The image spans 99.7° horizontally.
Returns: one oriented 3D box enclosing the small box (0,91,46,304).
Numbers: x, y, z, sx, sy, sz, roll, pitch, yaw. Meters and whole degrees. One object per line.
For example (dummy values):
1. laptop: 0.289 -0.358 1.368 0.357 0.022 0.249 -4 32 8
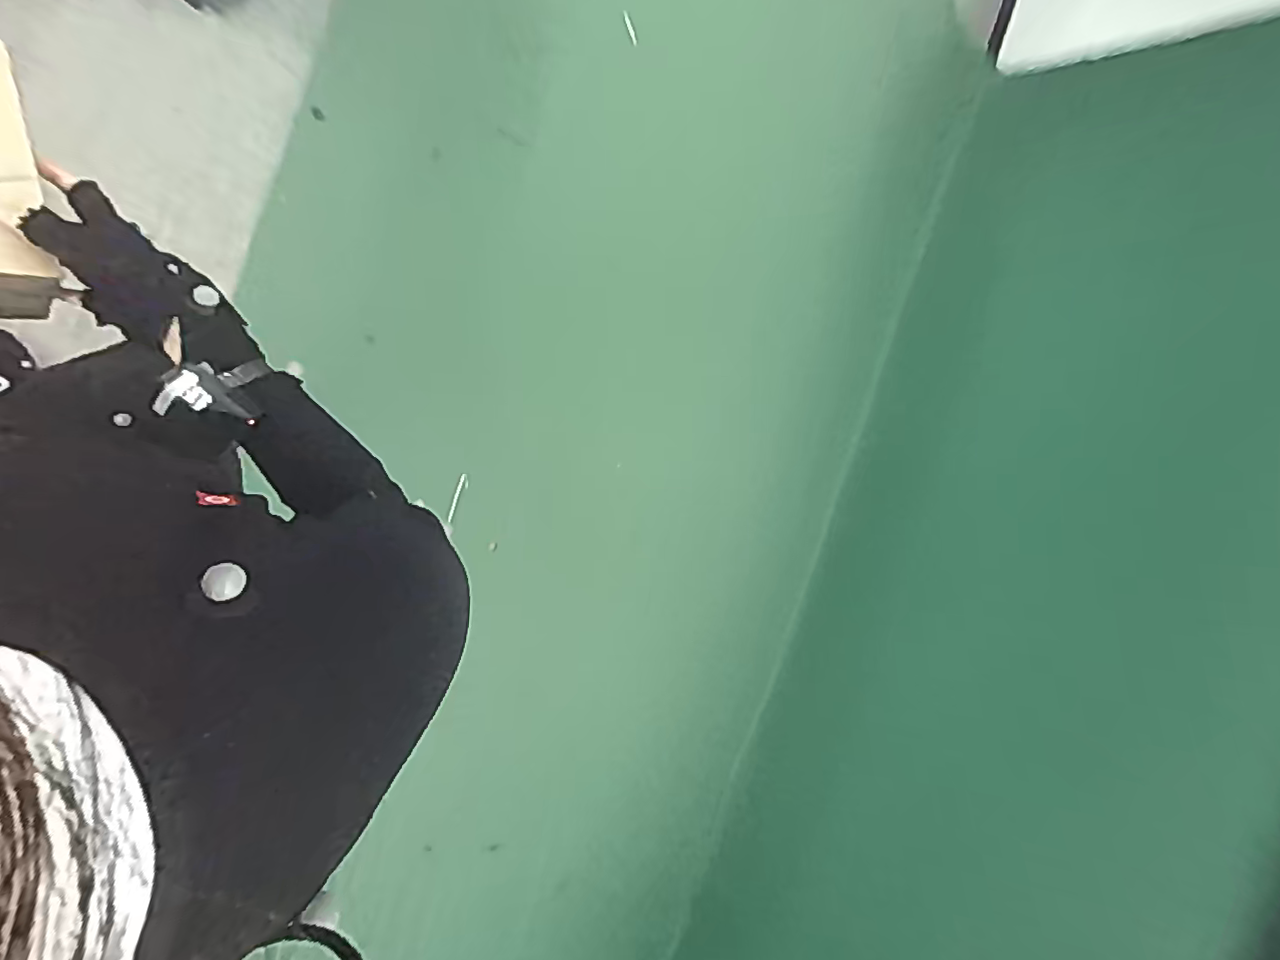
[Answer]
1. small box: -0.563 -0.222 0.373 0.179 0.176 0.168 -18 103 -48
